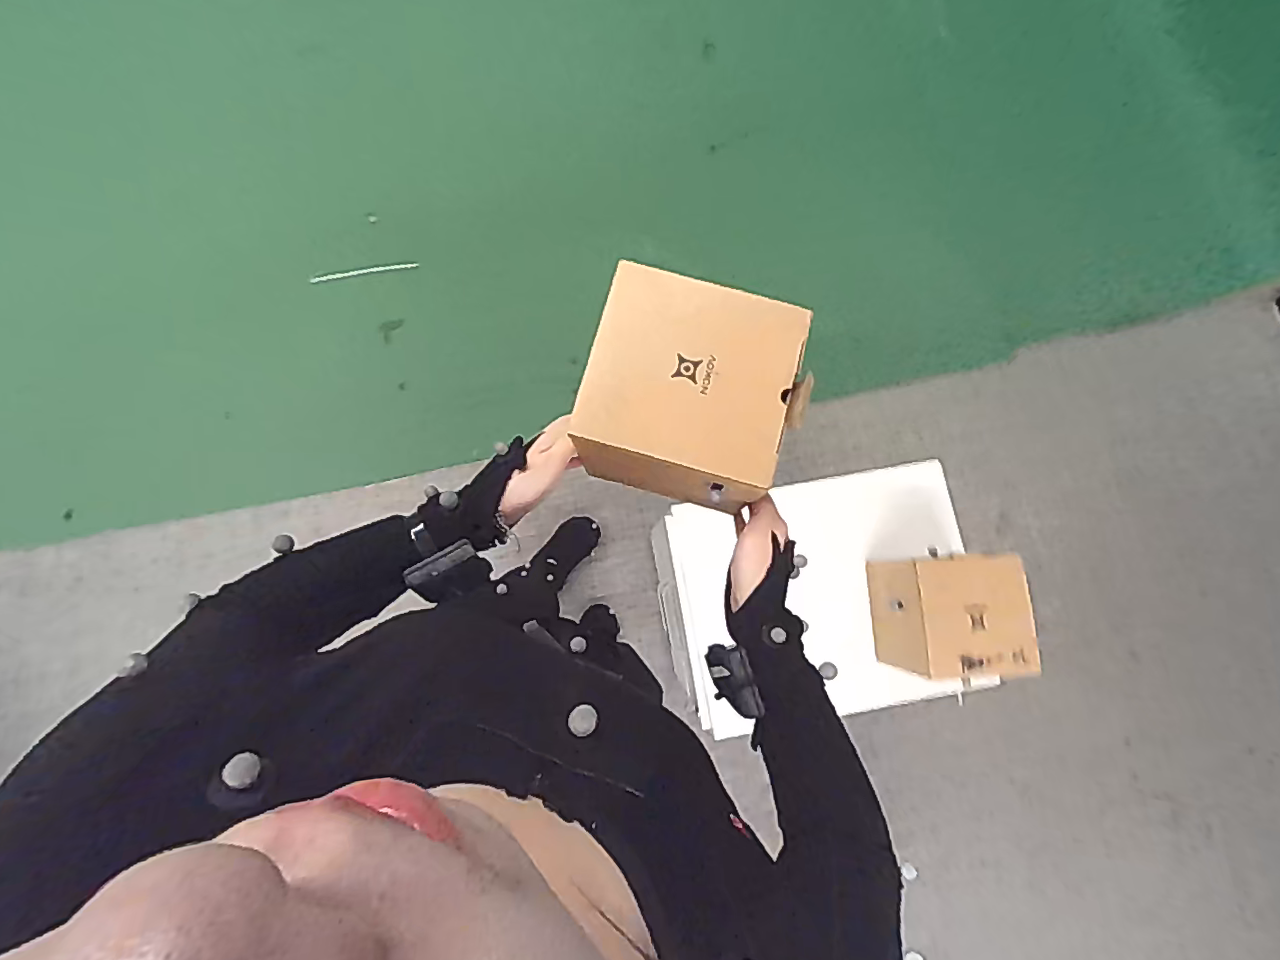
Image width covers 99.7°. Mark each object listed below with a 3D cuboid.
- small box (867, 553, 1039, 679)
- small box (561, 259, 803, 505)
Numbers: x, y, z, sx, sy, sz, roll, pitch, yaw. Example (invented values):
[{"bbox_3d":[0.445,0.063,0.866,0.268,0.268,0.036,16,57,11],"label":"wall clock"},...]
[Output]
[{"bbox_3d":[0.482,0.211,0.861,0.168,0.176,0.179,-2,79,-2],"label":"small box"},{"bbox_3d":[0.037,-0.081,0.534,0.179,0.176,0.168,15,79,1],"label":"small box"}]
